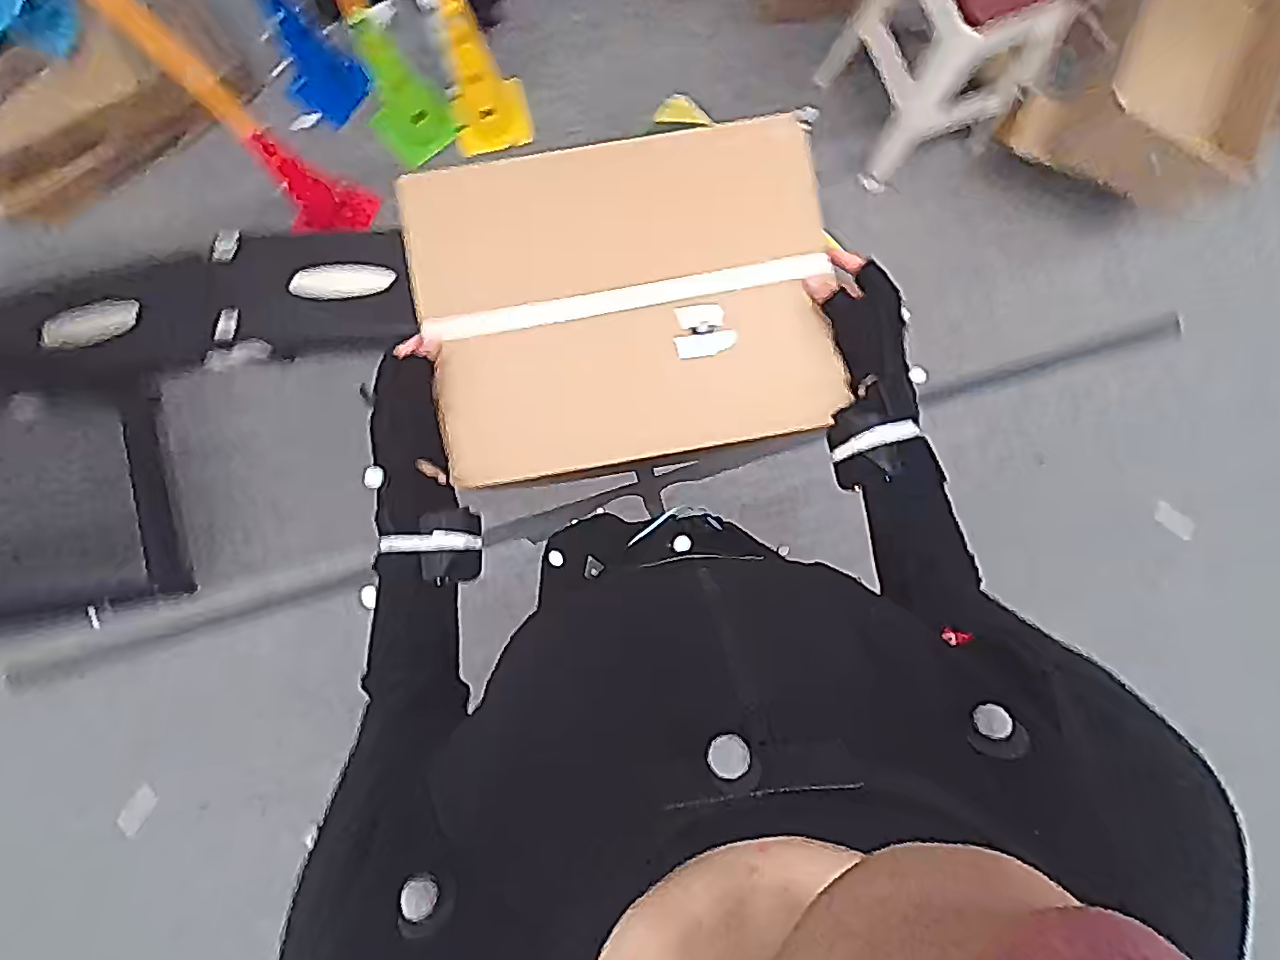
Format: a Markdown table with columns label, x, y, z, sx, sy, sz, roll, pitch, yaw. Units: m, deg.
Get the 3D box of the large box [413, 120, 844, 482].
| label | x | y | z | sx | sy | sz | roll | pitch | yaw |
| --- | --- | --- | --- | --- | --- | --- | --- | --- | --- |
| large box | -0.015 | -0.183 | 0.698 | 0.408 | 0.320 | 0.320 | -10 | 90 | -1 |
